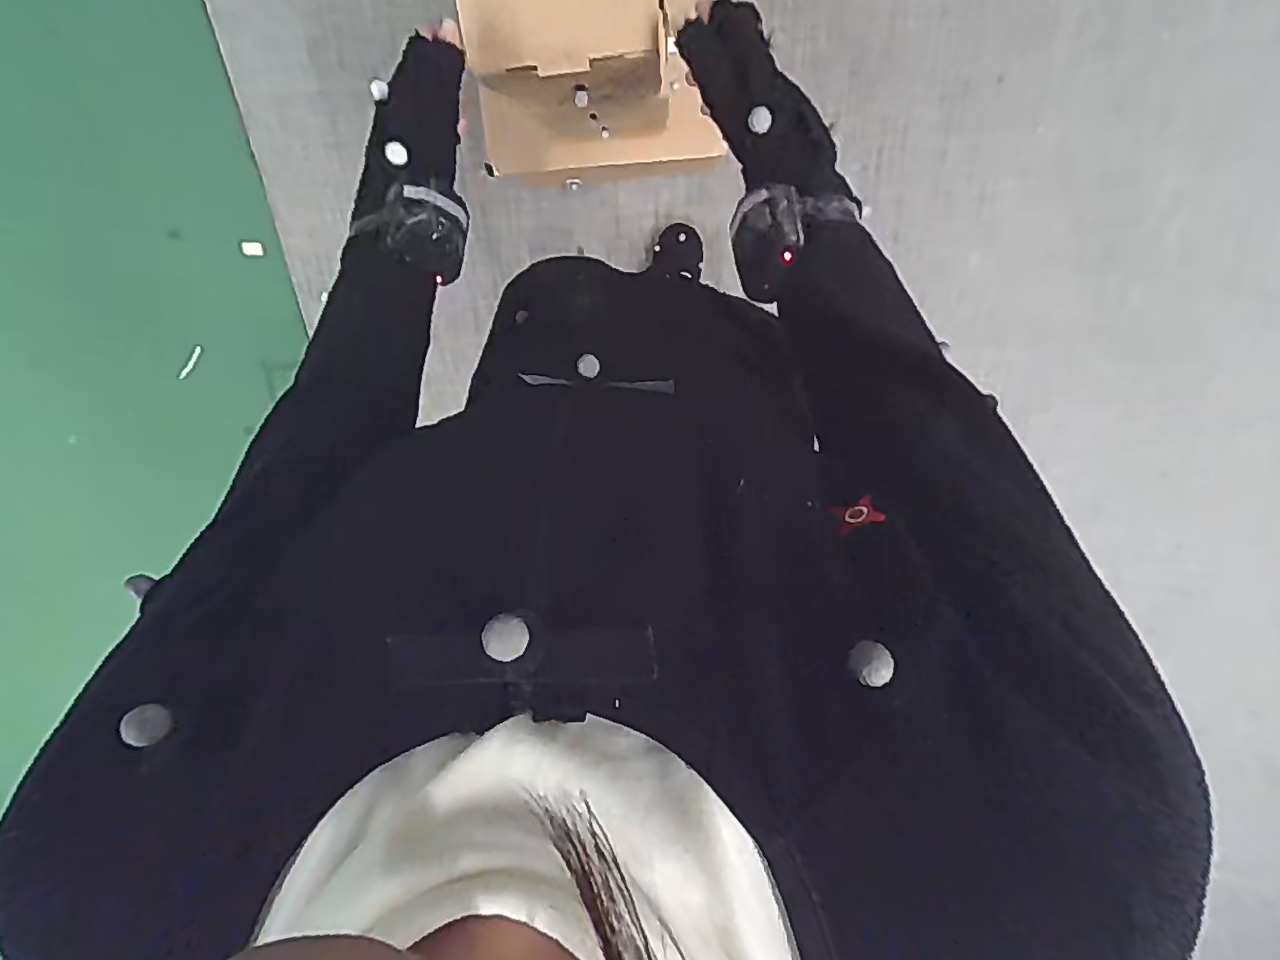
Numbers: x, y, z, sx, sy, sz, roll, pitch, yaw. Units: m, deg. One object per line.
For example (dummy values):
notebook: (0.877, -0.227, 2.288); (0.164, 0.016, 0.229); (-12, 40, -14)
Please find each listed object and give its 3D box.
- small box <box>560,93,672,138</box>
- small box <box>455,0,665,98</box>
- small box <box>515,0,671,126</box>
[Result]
small box: (-0.046, -0.608, 0.783); (0.179, 0.176, 0.168); (-3, 117, 5)
small box: (-0.068, -0.465, 0.490); (0.168, 0.176, 0.179); (-3, 118, 7)
small box: (-0.053, -0.531, 0.638); (0.179, 0.176, 0.168); (-2, 117, 7)
